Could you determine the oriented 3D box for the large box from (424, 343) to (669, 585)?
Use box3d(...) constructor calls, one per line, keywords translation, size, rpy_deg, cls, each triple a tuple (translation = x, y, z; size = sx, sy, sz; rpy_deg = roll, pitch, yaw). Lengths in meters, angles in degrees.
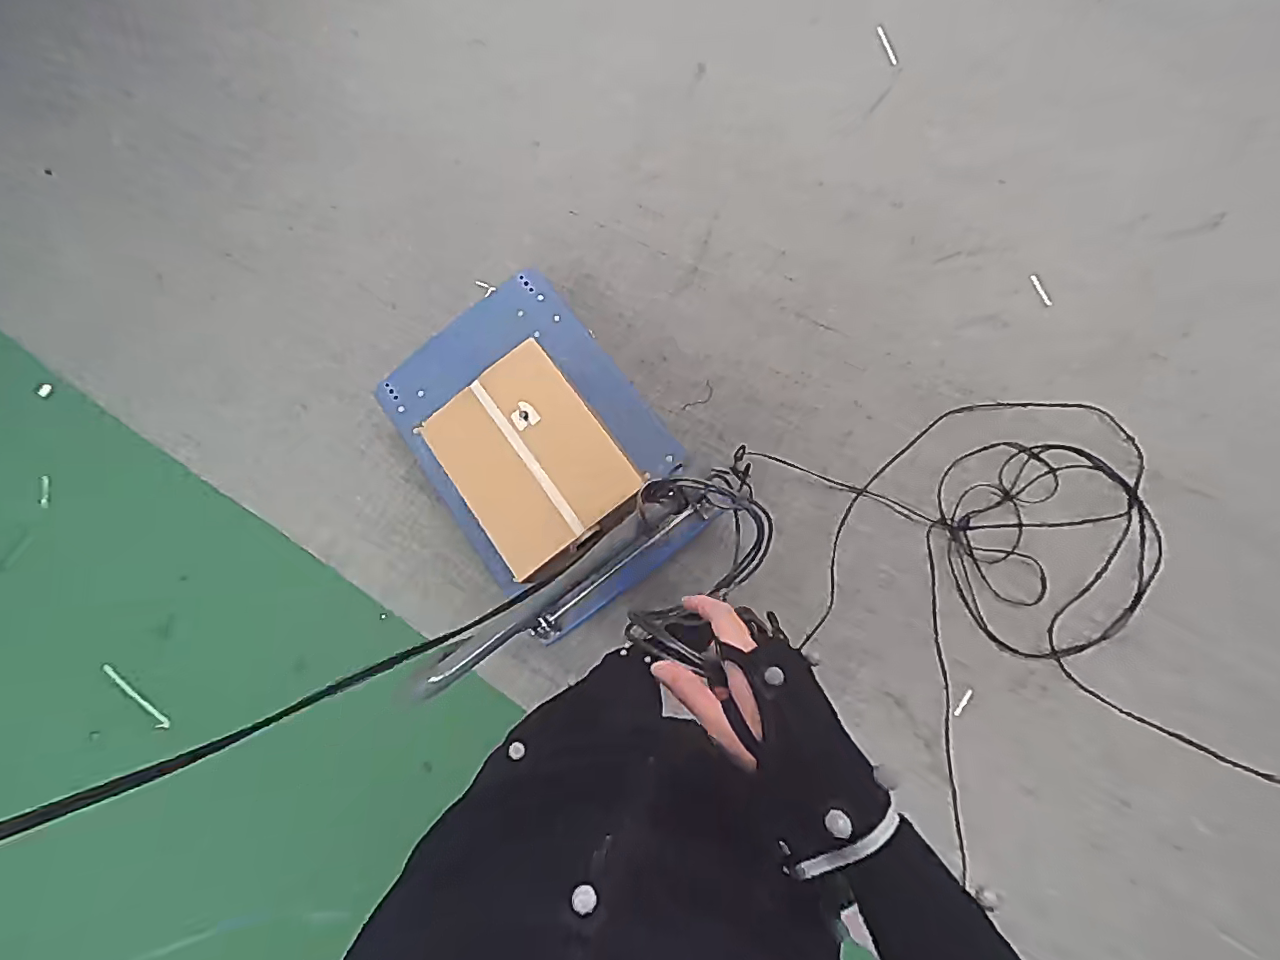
box3d(translation=(-0.189, -0.016, 1.217), size=(0.320, 0.320, 0.408), rpy_deg=(-38, 76, 1), cls="large box")
